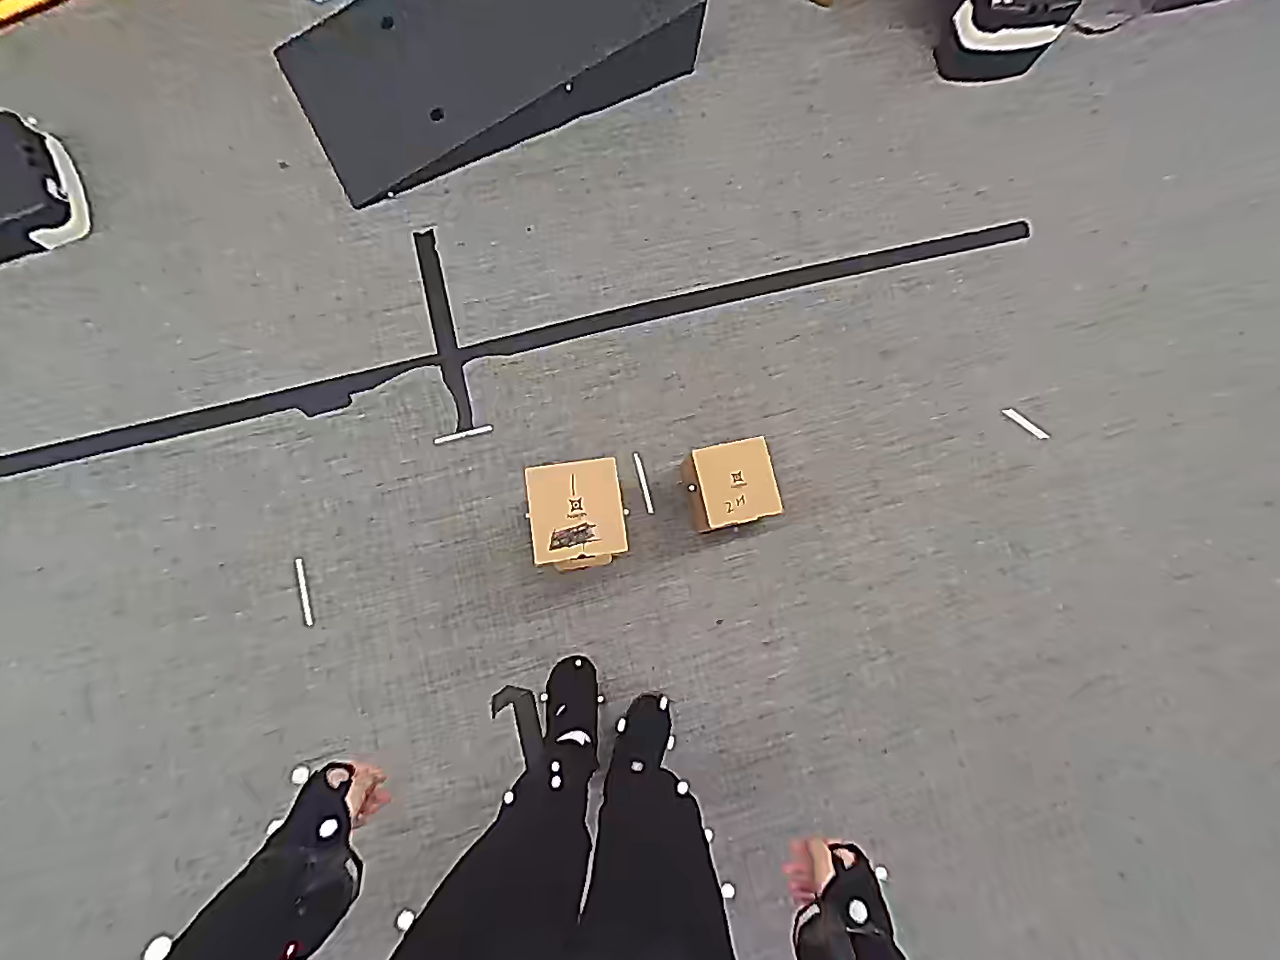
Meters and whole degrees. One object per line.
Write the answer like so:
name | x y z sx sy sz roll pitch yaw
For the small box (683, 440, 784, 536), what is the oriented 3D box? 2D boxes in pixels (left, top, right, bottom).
small box | 0.203 0.024 1.227 0.168 0.176 0.179 -11 82 -6

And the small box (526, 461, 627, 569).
small box | -0.117 0.071 1.026 0.168 0.176 0.179 -7 81 -6
